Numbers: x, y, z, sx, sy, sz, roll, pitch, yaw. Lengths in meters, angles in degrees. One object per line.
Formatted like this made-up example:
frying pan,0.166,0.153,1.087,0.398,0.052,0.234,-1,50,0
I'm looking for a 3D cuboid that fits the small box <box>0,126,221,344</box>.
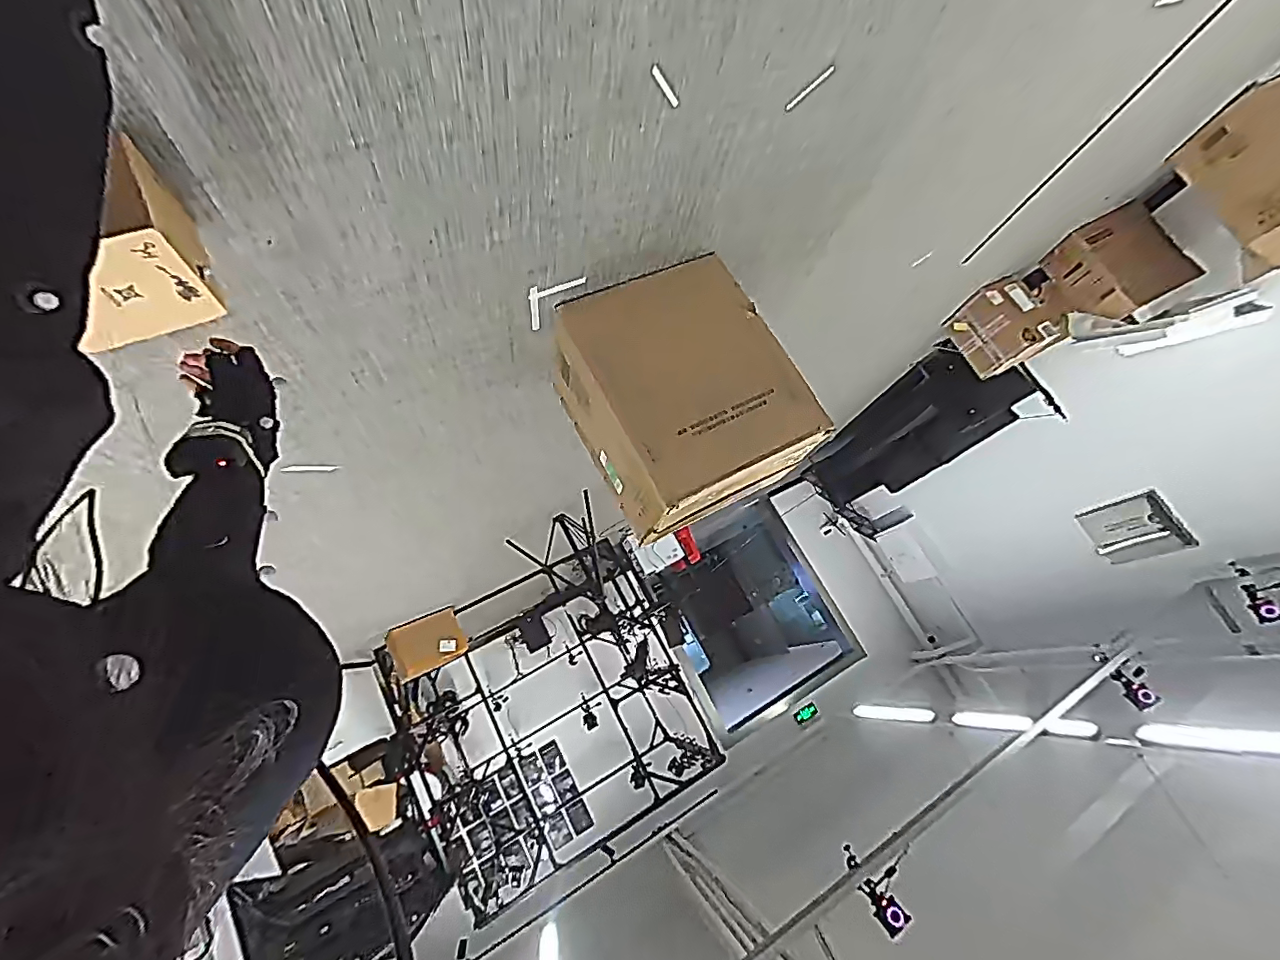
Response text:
small box,-0.690,-0.309,0.688,0.179,0.176,0.168,-23,166,-18
